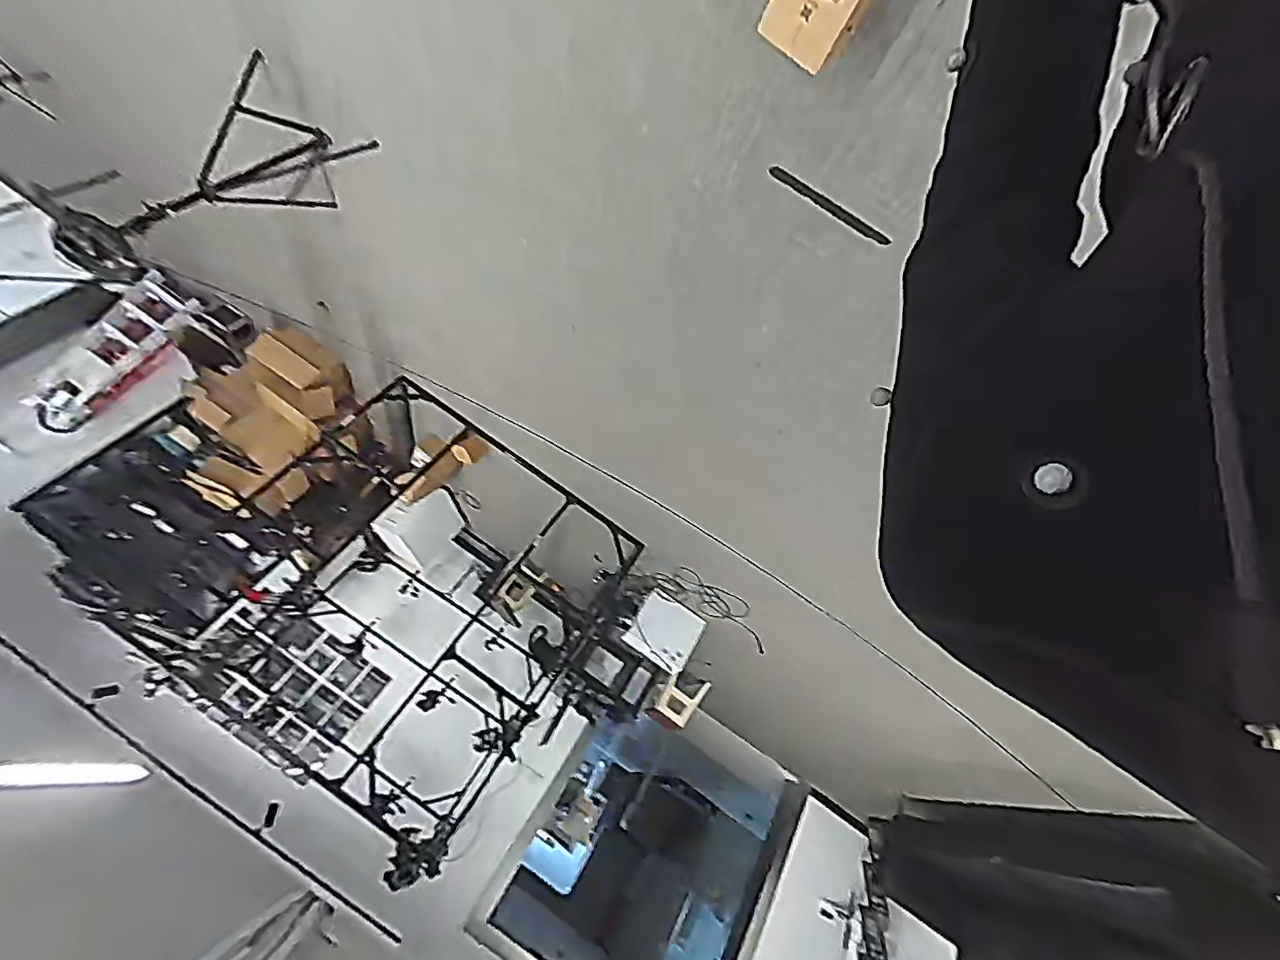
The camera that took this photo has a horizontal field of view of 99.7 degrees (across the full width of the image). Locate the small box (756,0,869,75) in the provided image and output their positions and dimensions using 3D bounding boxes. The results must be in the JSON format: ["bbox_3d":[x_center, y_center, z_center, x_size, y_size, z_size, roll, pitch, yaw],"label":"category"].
[{"bbox_3d":[0.381,-1.019,1.142,0.168,0.176,0.179,37,150,-1],"label":"small box"}]
